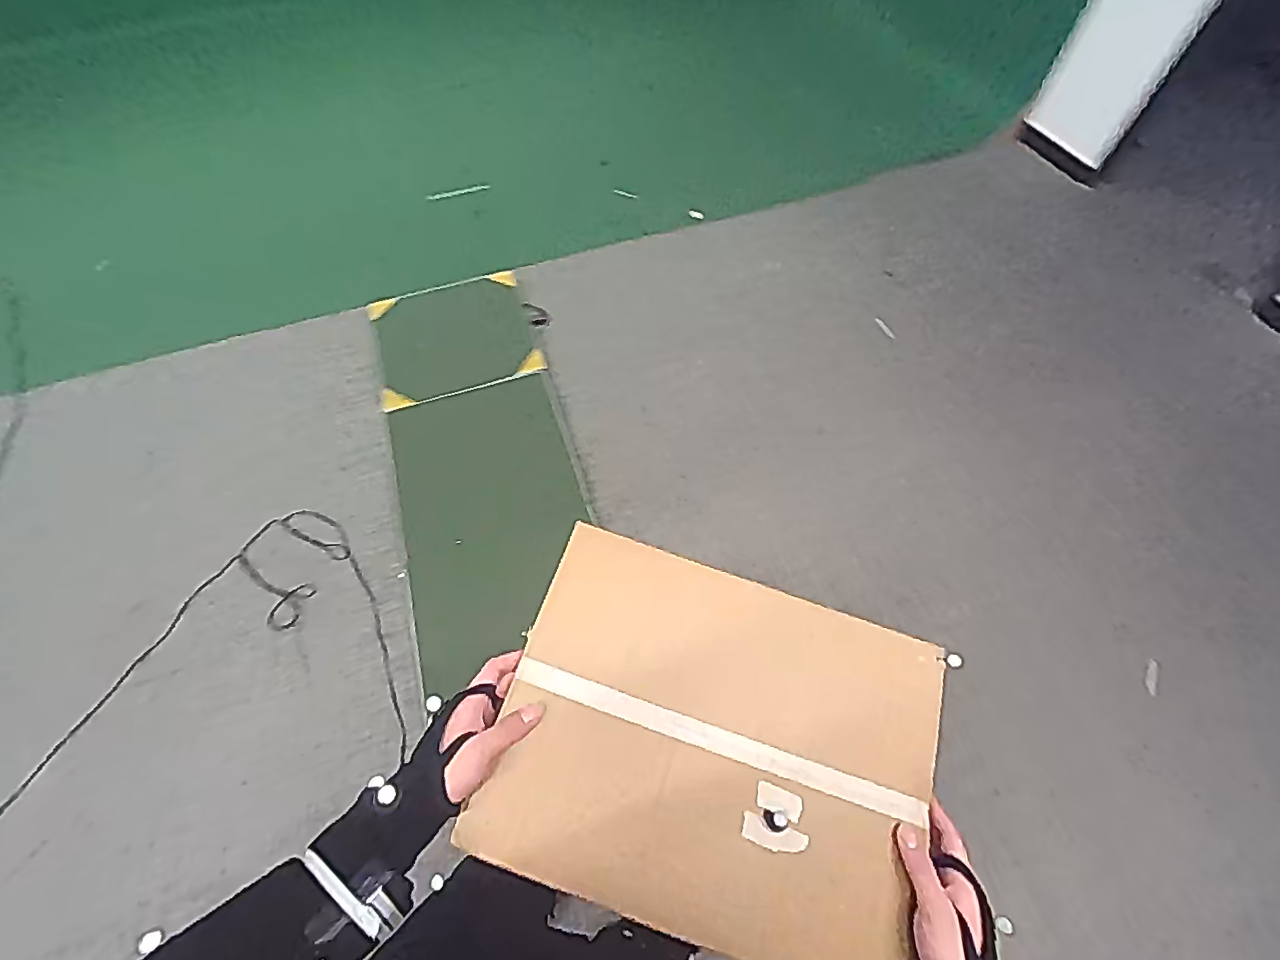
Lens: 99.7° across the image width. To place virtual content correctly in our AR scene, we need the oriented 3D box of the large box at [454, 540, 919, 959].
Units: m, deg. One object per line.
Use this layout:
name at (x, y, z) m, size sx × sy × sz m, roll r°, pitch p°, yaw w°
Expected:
large box at (0.053, 0.310, 0.660) m, size 0.408 × 0.320 × 0.320 m, roll 17°, pitch 68°, yaw 3°
